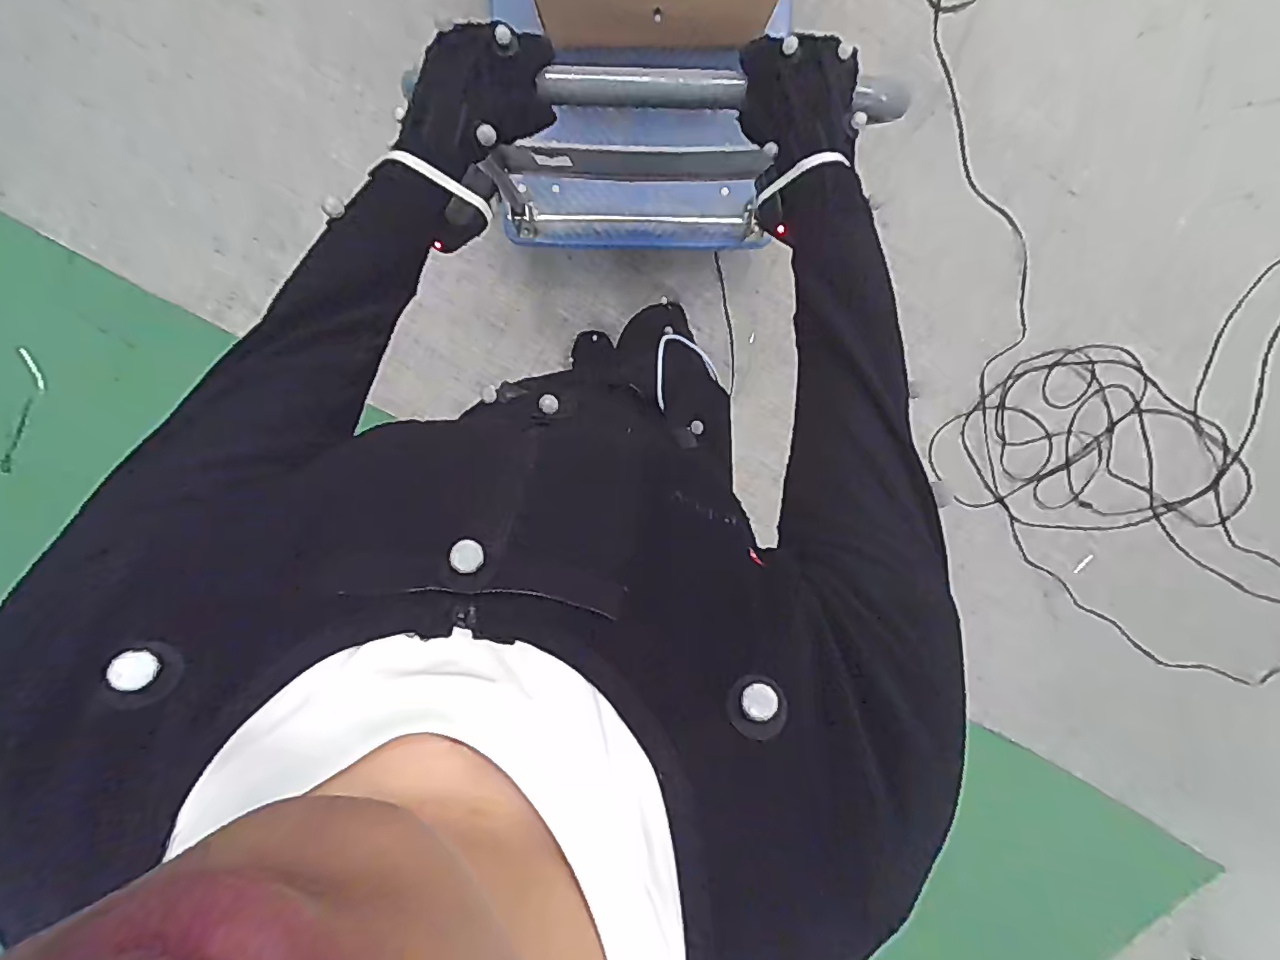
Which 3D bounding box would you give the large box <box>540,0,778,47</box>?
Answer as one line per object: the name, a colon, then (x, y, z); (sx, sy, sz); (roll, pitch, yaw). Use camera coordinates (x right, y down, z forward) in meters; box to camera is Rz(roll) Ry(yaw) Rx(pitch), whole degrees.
large box: (0.033, -0.944, 0.867); (0.408, 0.320, 0.320); (-1, 108, 0)
